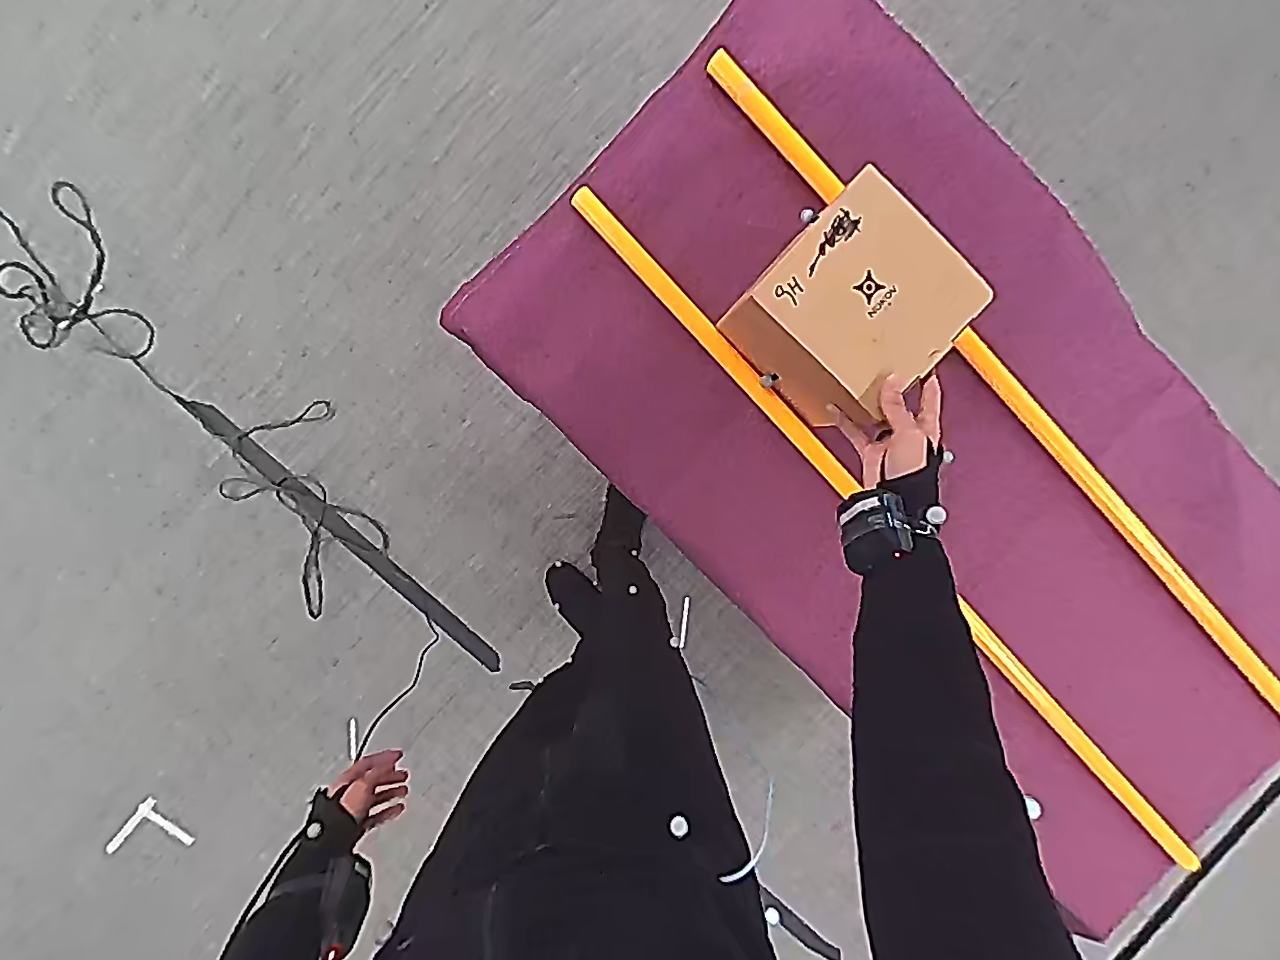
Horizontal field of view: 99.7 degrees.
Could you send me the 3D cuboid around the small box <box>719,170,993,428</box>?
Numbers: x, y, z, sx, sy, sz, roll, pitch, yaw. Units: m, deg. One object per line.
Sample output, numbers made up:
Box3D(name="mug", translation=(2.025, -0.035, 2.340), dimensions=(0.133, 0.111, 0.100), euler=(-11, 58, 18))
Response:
Box3D(name="small box", translation=(0.211, -0.174, 0.578), dimensions=(0.179, 0.176, 0.168), euler=(43, 90, -6))
